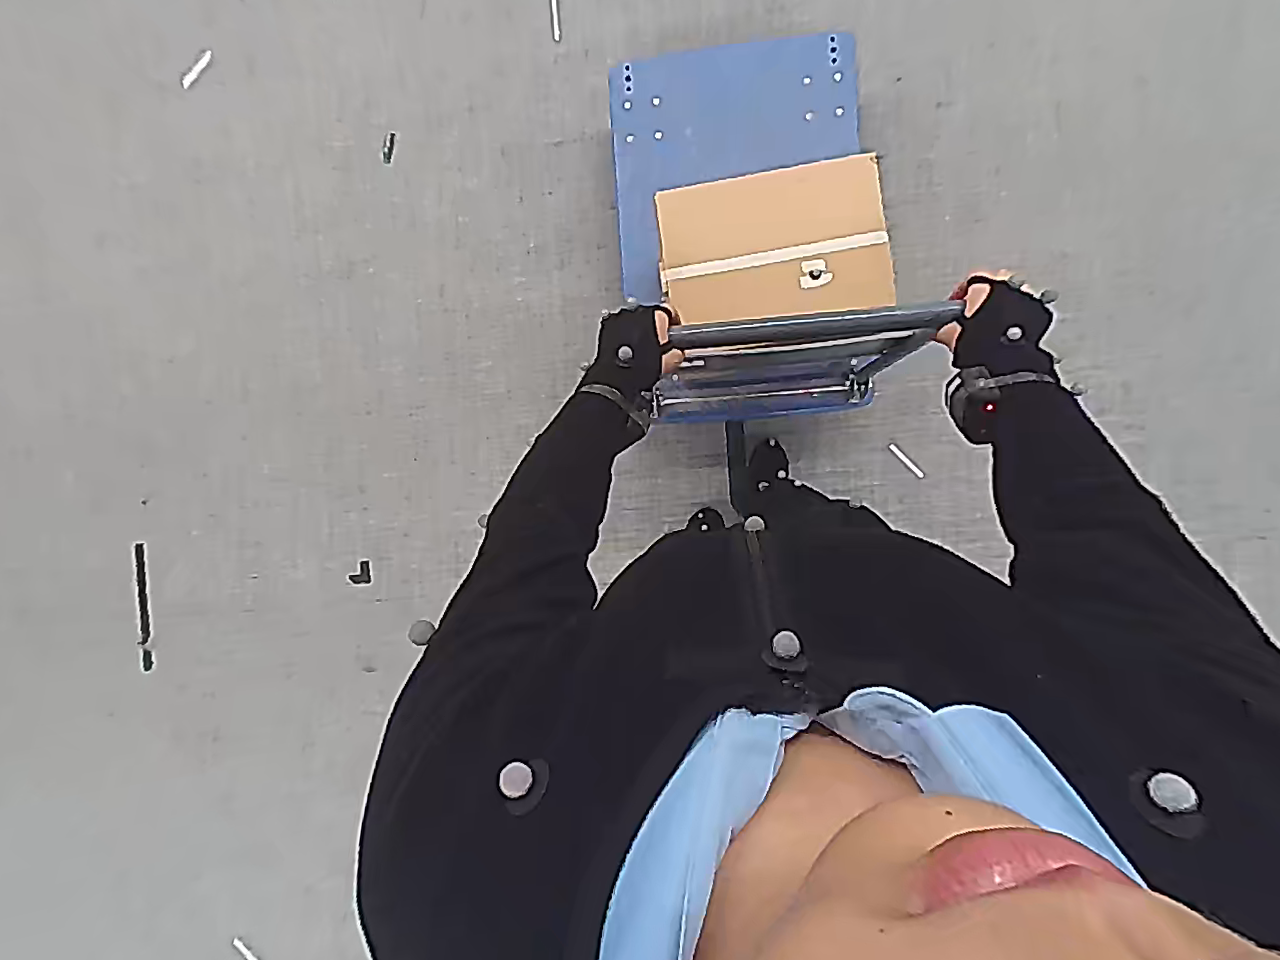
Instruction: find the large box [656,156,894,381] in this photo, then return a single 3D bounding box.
[{"bbox_3d":[0.259,-0.414,1.149,0.408,0.320,0.320,-8,92,4],"label":"large box"}]
